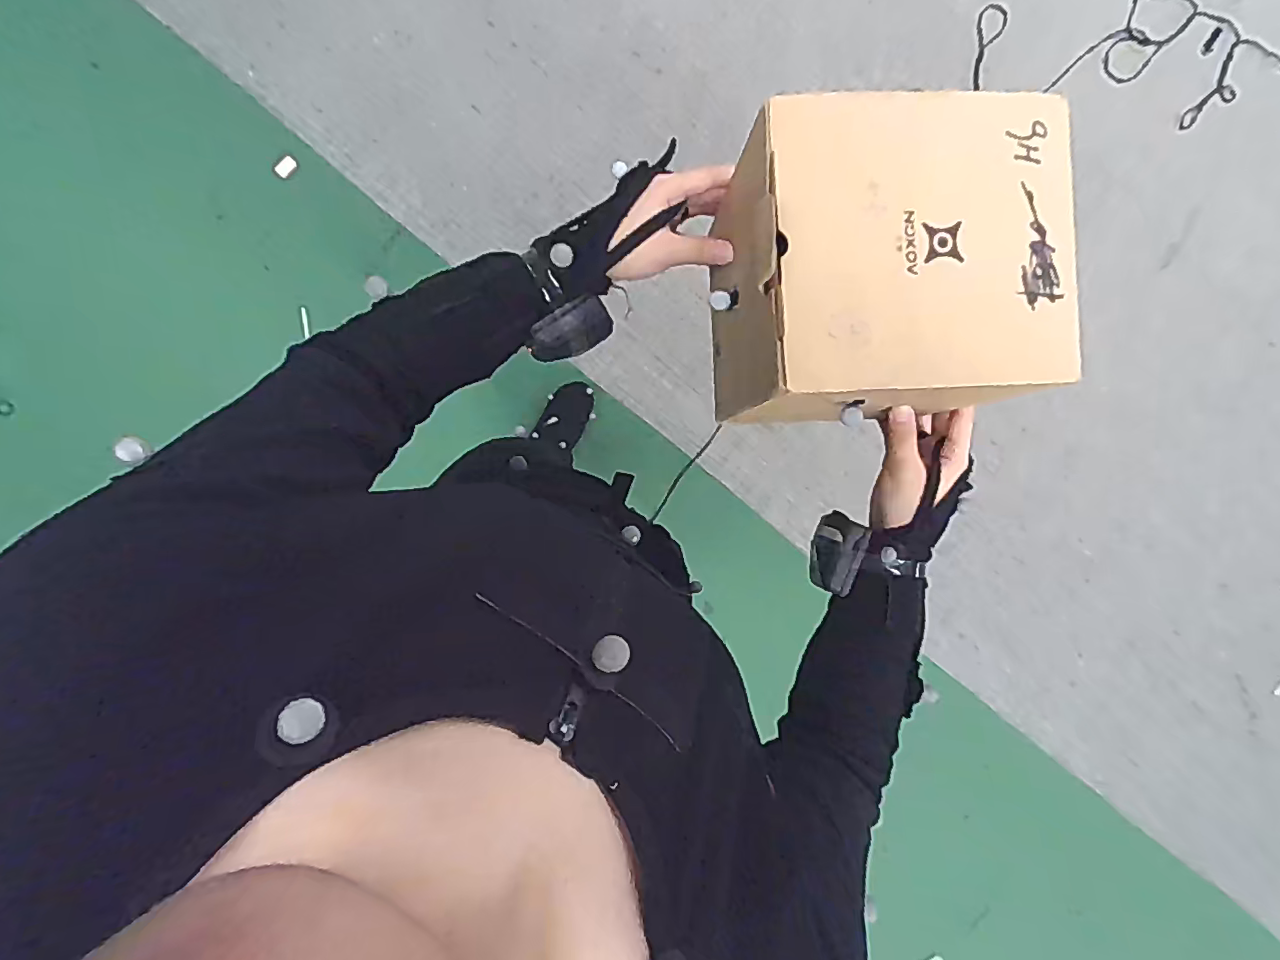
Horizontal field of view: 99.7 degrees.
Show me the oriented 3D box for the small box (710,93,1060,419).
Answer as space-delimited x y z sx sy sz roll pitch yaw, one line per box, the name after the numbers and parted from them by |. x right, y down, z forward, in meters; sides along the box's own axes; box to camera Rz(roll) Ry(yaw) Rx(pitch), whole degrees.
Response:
0.148 -0.136 0.388 0.179 0.176 0.168 -3 90 -3 | small box
